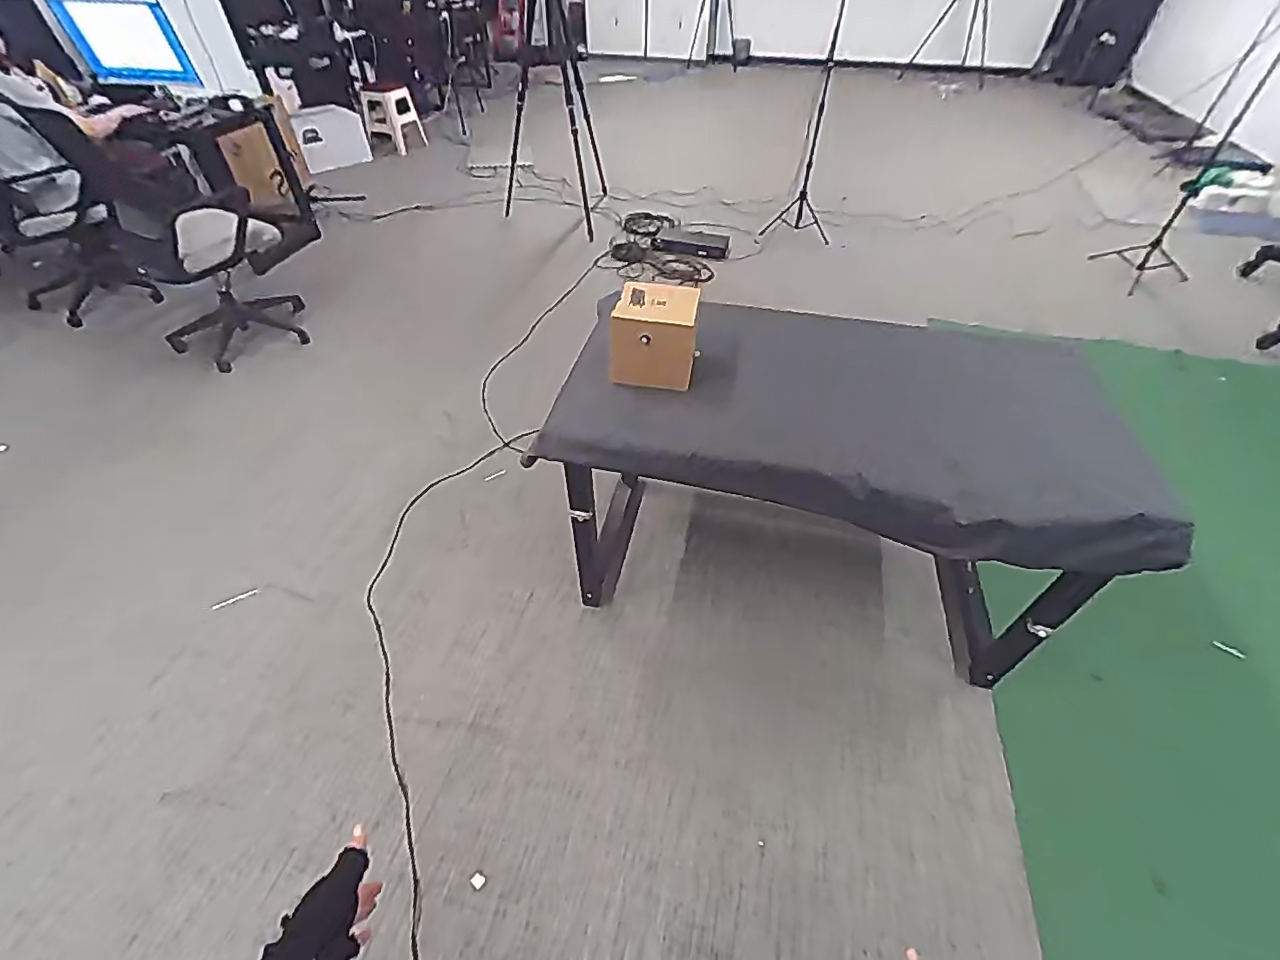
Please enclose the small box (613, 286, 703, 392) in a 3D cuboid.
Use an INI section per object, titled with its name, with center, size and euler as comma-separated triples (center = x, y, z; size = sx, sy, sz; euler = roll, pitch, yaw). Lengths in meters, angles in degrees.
[small box]
center = 0.042, -0.319, 1.231
size = 0.179, 0.176, 0.168
euler = 8, 46, 6
